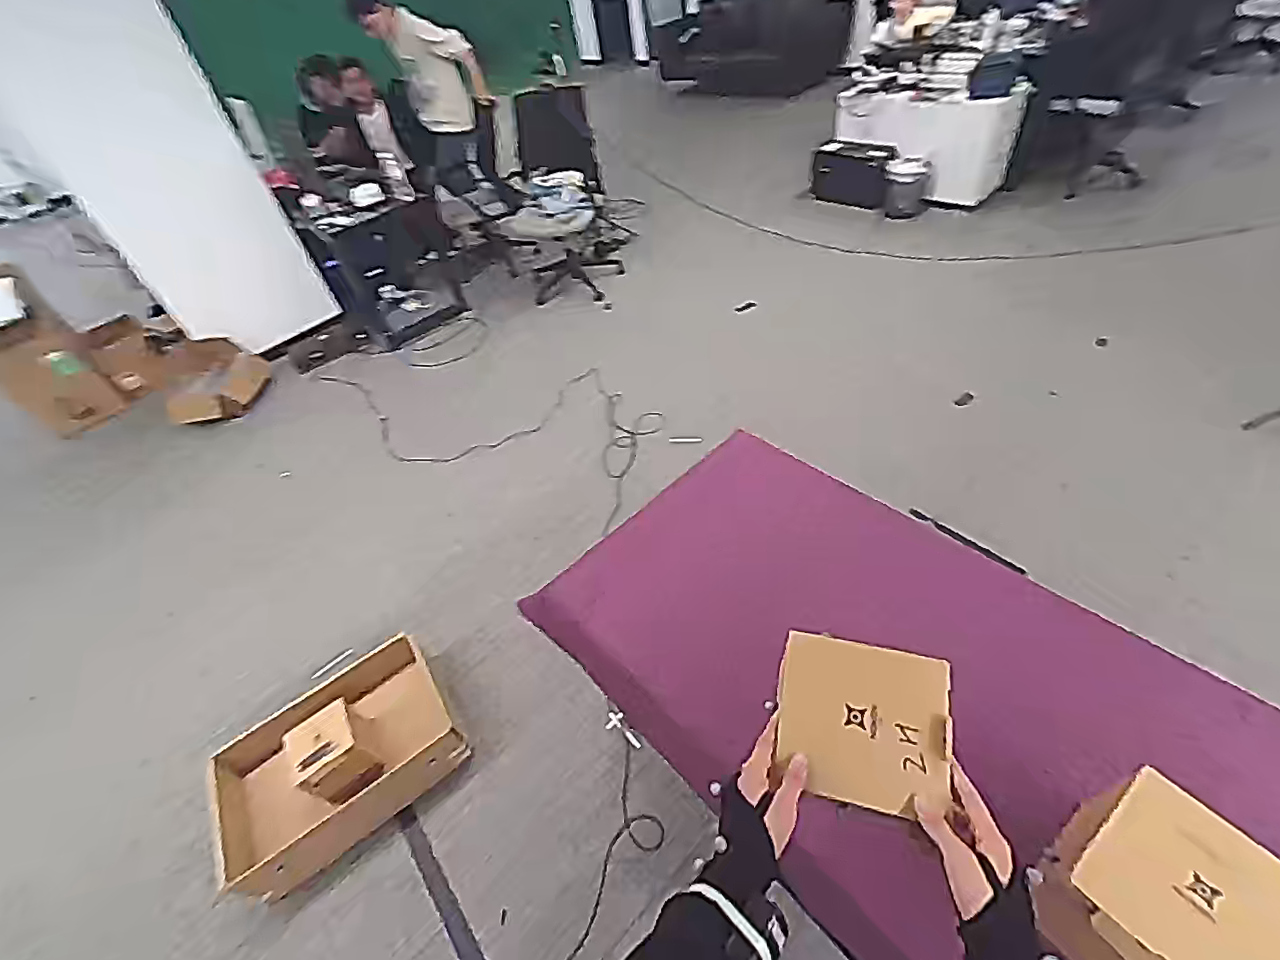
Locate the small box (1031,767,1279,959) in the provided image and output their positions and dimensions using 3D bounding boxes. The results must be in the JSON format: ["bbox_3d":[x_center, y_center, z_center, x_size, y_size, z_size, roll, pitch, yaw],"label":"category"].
[{"bbox_3d":[0.561,0.456,0.577,0.179,0.176,0.168,-32,48,-19],"label":"small box"}]
